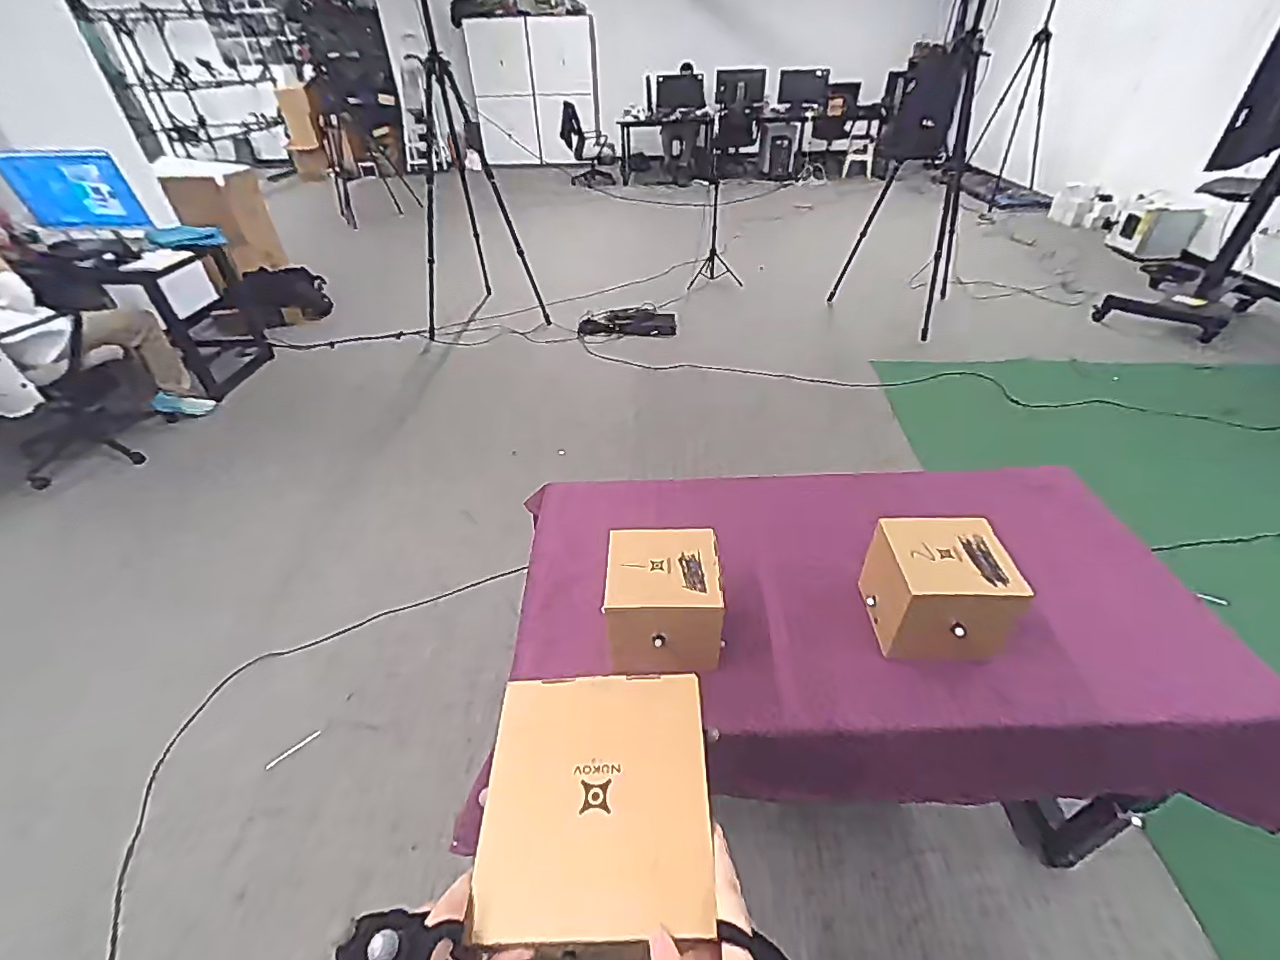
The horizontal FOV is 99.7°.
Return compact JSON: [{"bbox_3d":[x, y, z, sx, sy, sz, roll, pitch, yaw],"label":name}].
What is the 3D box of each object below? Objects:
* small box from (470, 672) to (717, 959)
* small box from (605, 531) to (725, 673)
[{"bbox_3d":[-0.024,0.287,0.458,0.168,0.176,0.179,-3,42,2],"label":"small box"},{"bbox_3d":[0.040,0.201,0.890,0.179,0.176,0.168,-1,38,2],"label":"small box"}]
